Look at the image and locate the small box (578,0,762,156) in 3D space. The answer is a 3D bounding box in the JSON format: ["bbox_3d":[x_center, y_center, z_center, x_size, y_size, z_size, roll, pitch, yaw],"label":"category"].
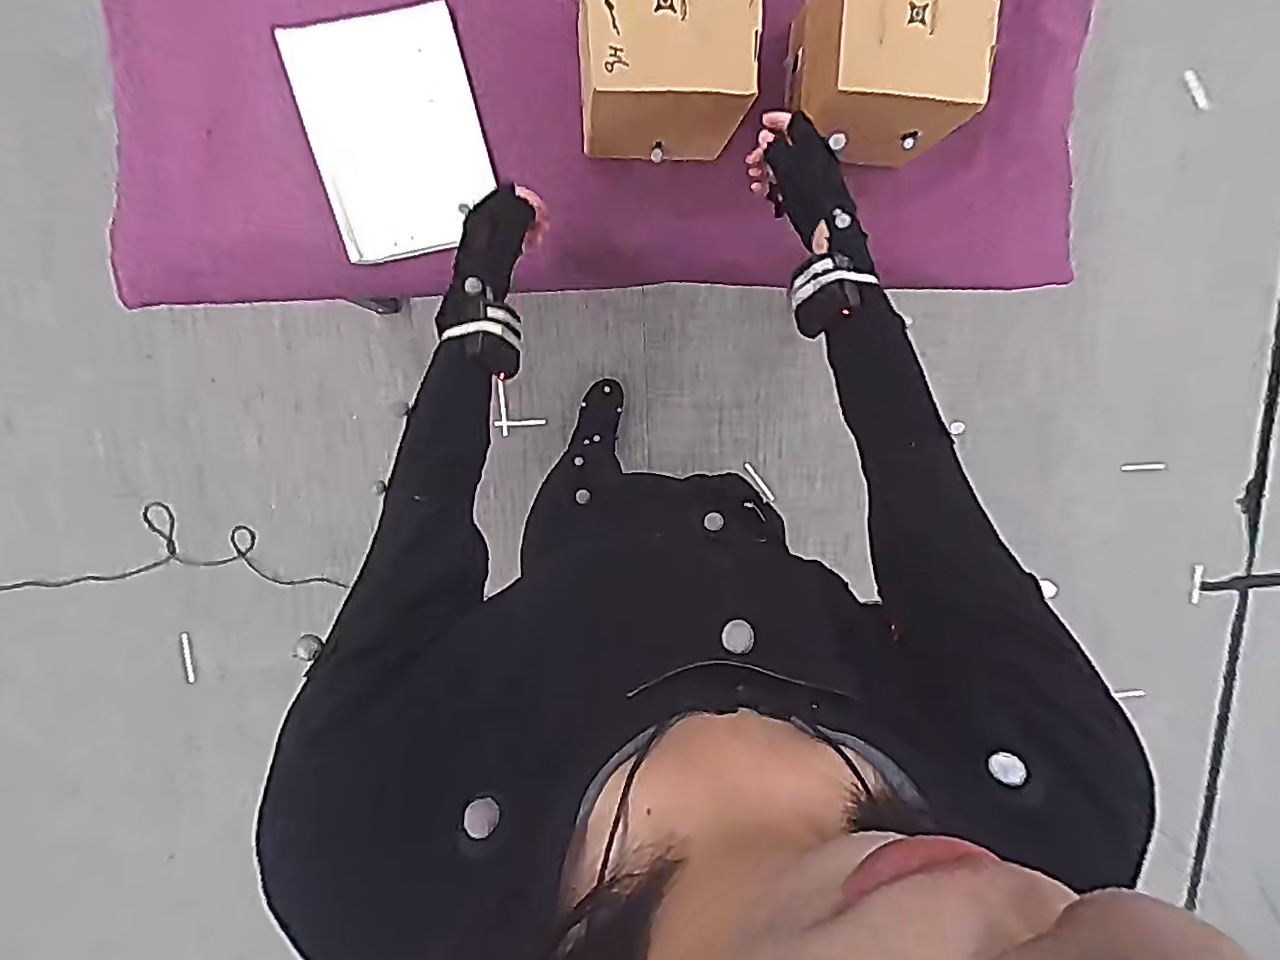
[{"bbox_3d":[0.025,-0.488,0.609,0.179,0.176,0.168,-4,99,-7],"label":"small box"}]

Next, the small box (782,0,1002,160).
[{"bbox_3d":[0.288,-0.504,0.641,0.179,0.176,0.168,1,98,-6],"label":"small box"}]
